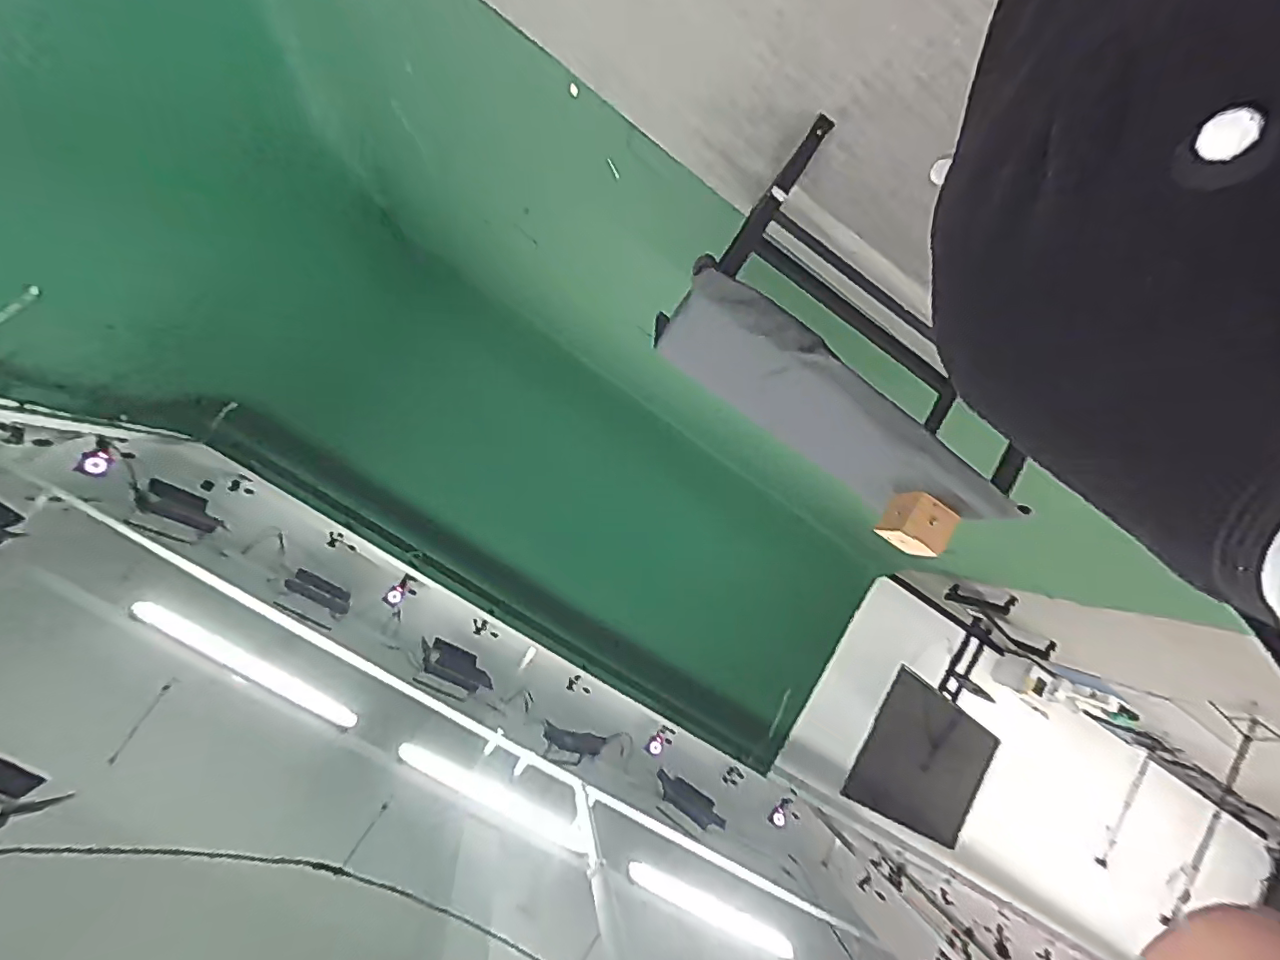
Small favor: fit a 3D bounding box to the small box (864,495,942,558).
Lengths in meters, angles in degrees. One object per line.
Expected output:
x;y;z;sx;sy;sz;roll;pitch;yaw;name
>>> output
0.965;0.166;1.969;0.168;0.176;0.179;34;170;-6;small box
